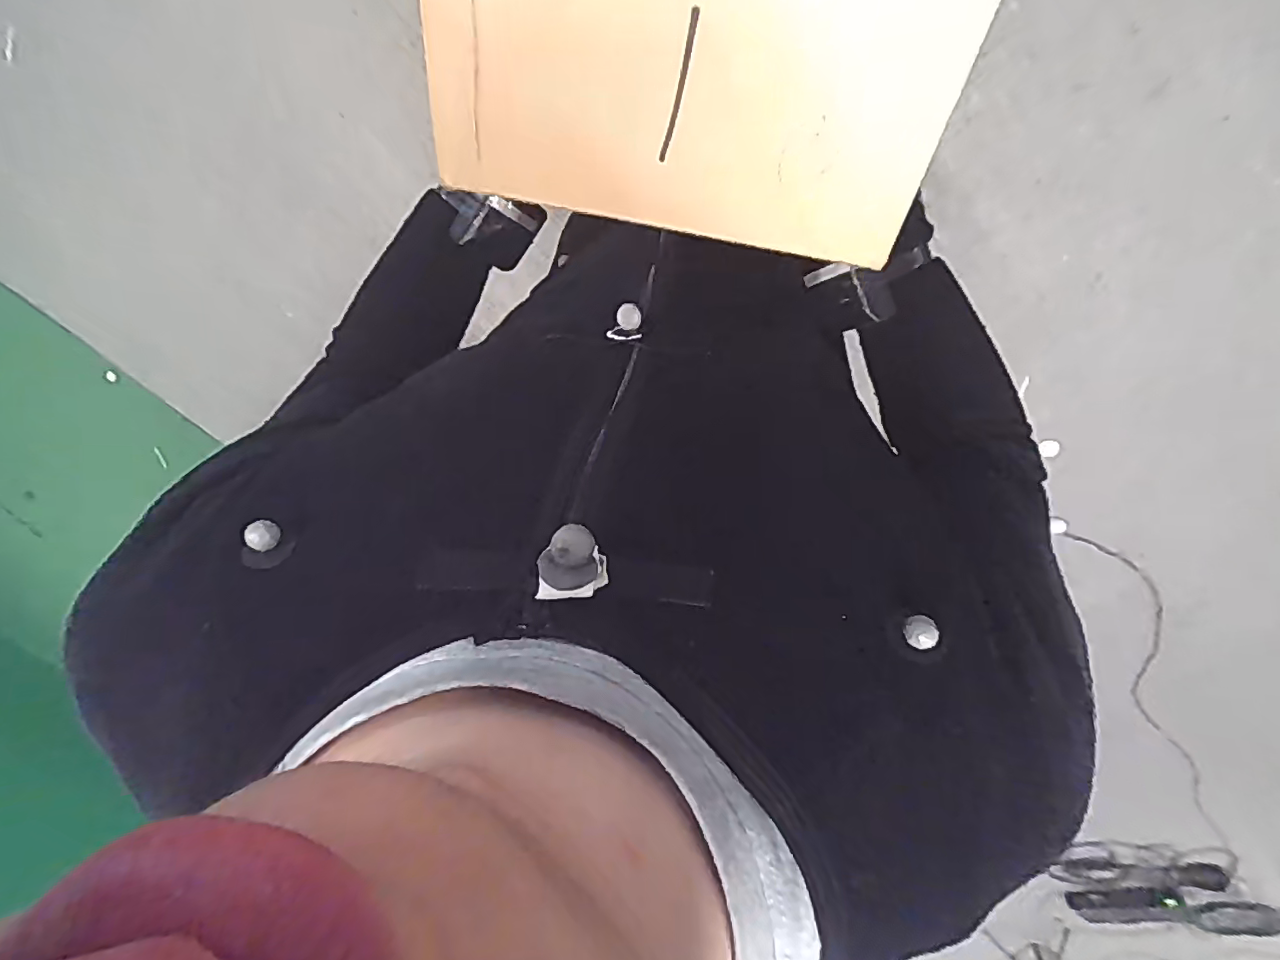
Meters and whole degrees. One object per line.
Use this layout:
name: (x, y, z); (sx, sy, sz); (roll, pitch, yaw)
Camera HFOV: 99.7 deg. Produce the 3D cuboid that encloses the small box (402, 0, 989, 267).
small box: (0.027, -0.208, 0.195); (0.168, 0.176, 0.179); (12, 132, 0)
